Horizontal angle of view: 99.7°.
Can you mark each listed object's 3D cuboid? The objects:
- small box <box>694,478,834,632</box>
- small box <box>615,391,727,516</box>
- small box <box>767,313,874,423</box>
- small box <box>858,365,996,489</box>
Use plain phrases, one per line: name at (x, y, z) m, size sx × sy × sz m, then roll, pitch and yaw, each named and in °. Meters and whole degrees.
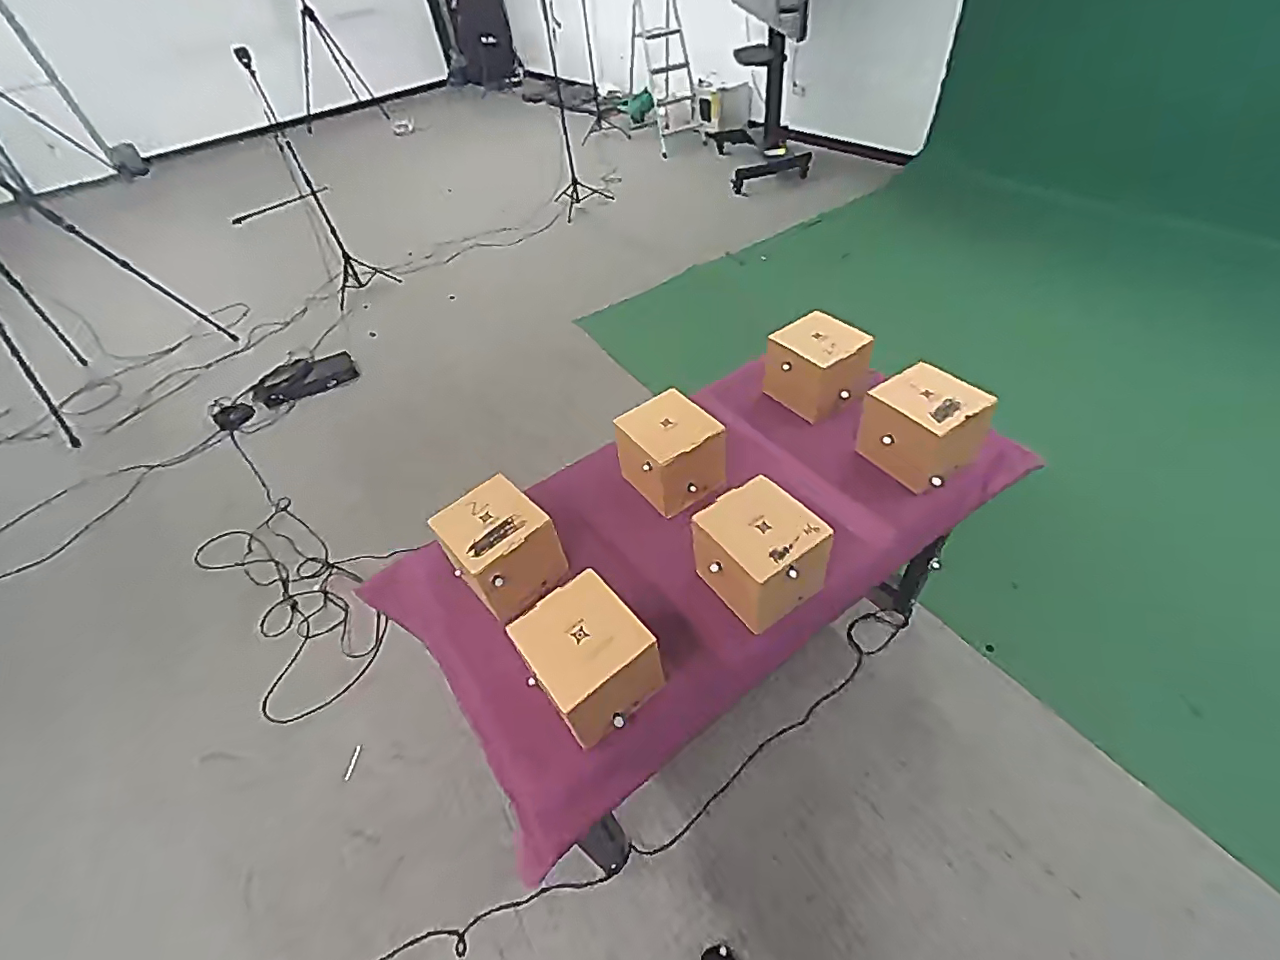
small box at (0.214, 0.134, 0.963) m, size 0.168 × 0.176 × 0.179 m, roll -30°, pitch 48°, yaw -18°
small box at (0.067, -0.056, 1.165) m, size 0.168 × 0.176 × 0.179 m, roll -31°, pitch 52°, yaw -20°
small box at (0.425, -0.269, 1.307) m, size 0.168 × 0.176 × 0.179 m, roll -30°, pitch 51°, yaw -18°
small box at (0.587, -0.104, 1.130) m, size 0.168 × 0.176 × 0.179 m, roll -28°, pitch 48°, yaw -16°
